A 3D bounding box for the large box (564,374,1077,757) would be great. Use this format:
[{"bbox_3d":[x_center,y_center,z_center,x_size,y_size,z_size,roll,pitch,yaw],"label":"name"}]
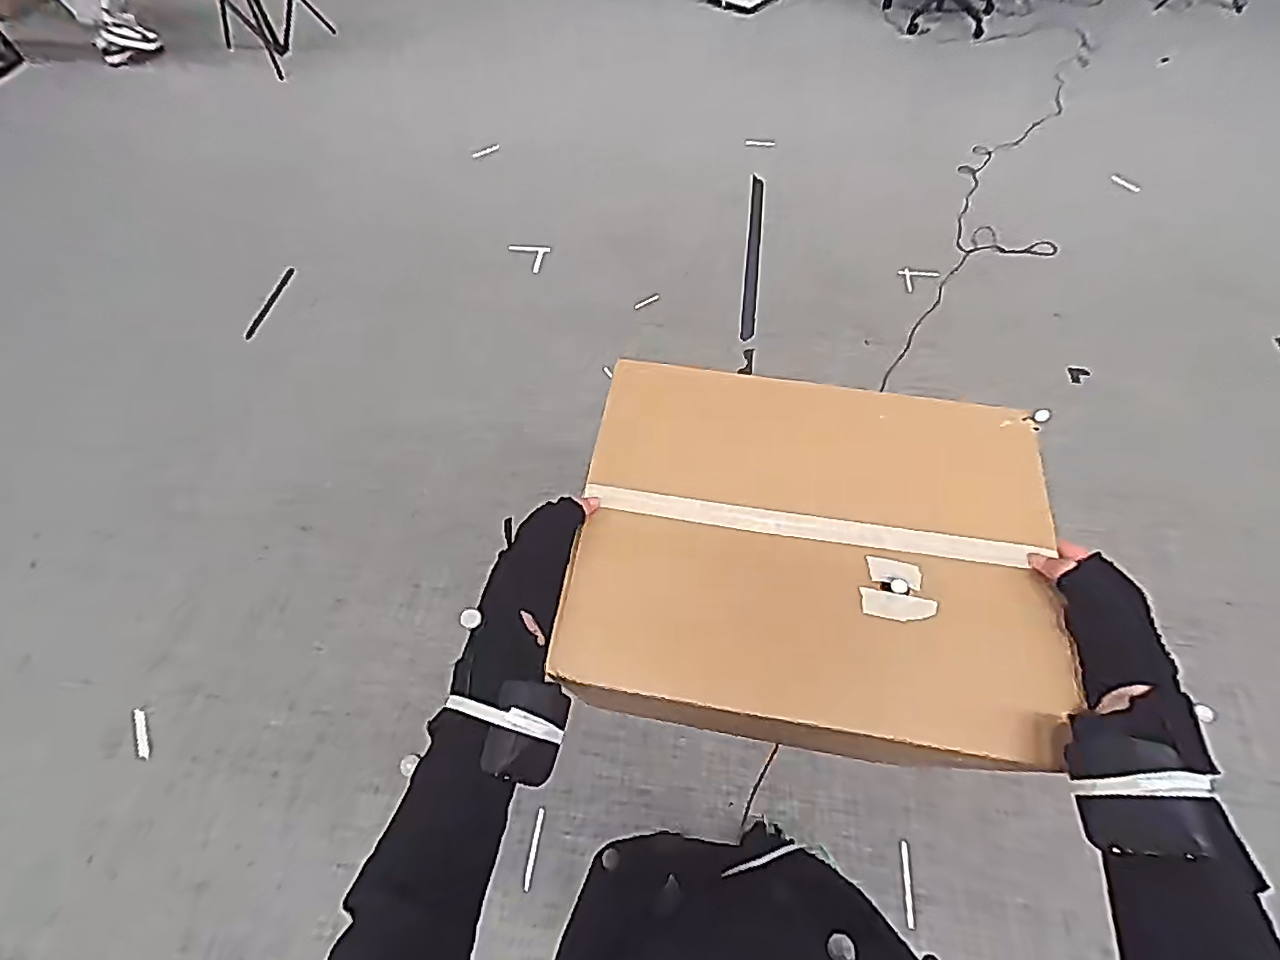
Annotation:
[{"bbox_3d":[0.153,0.114,0.615,0.408,0.320,0.320,8,65,4],"label":"large box"}]
